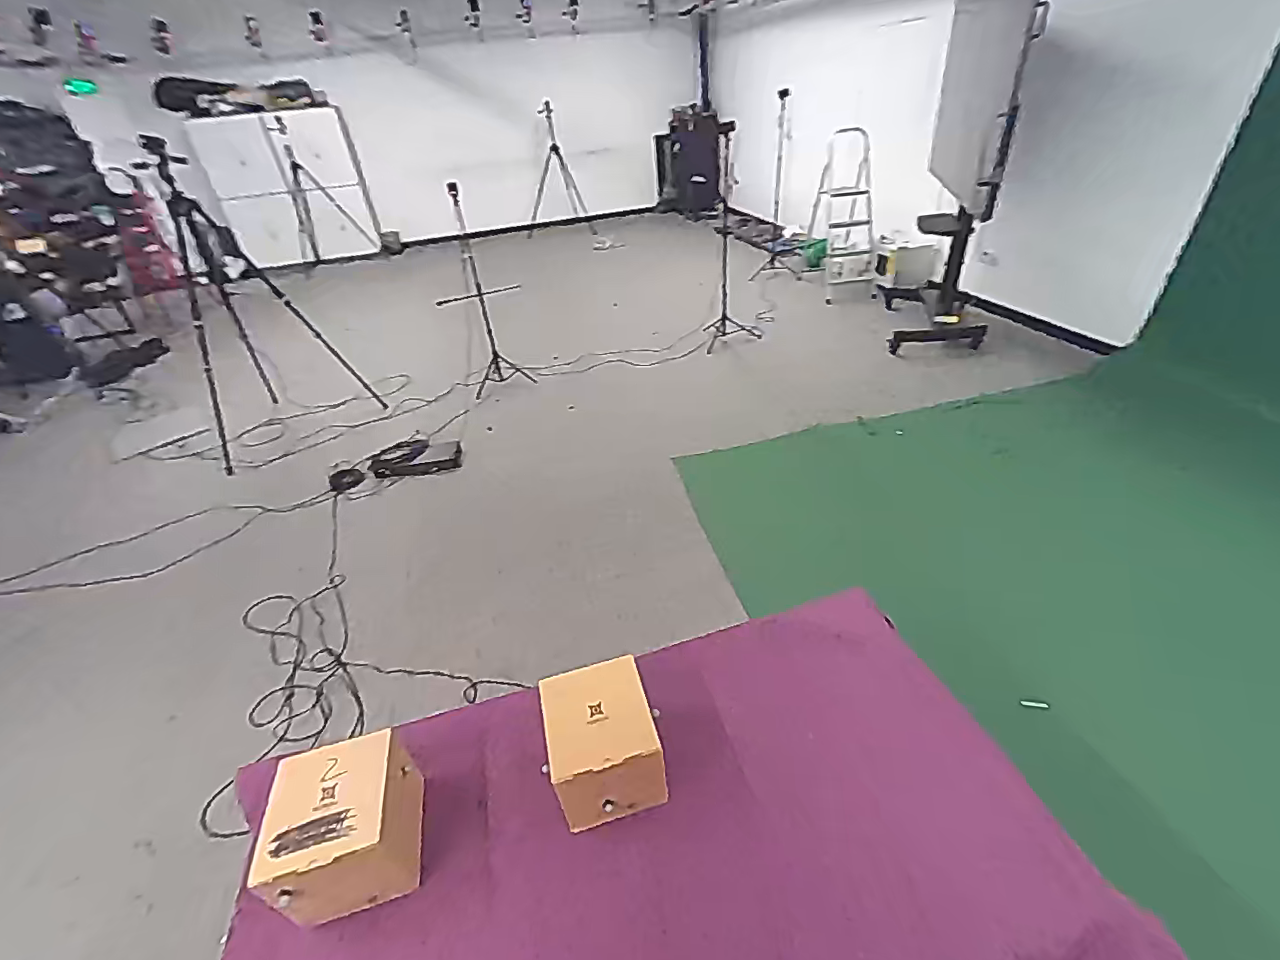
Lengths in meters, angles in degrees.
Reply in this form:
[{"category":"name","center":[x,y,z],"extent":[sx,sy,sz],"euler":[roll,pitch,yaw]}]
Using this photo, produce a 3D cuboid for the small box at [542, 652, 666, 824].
[{"category":"small box","center":[-0.060,0.424,0.896],"extent":[0.168,0.176,0.179],"euler":[-13,37,-10]}]
